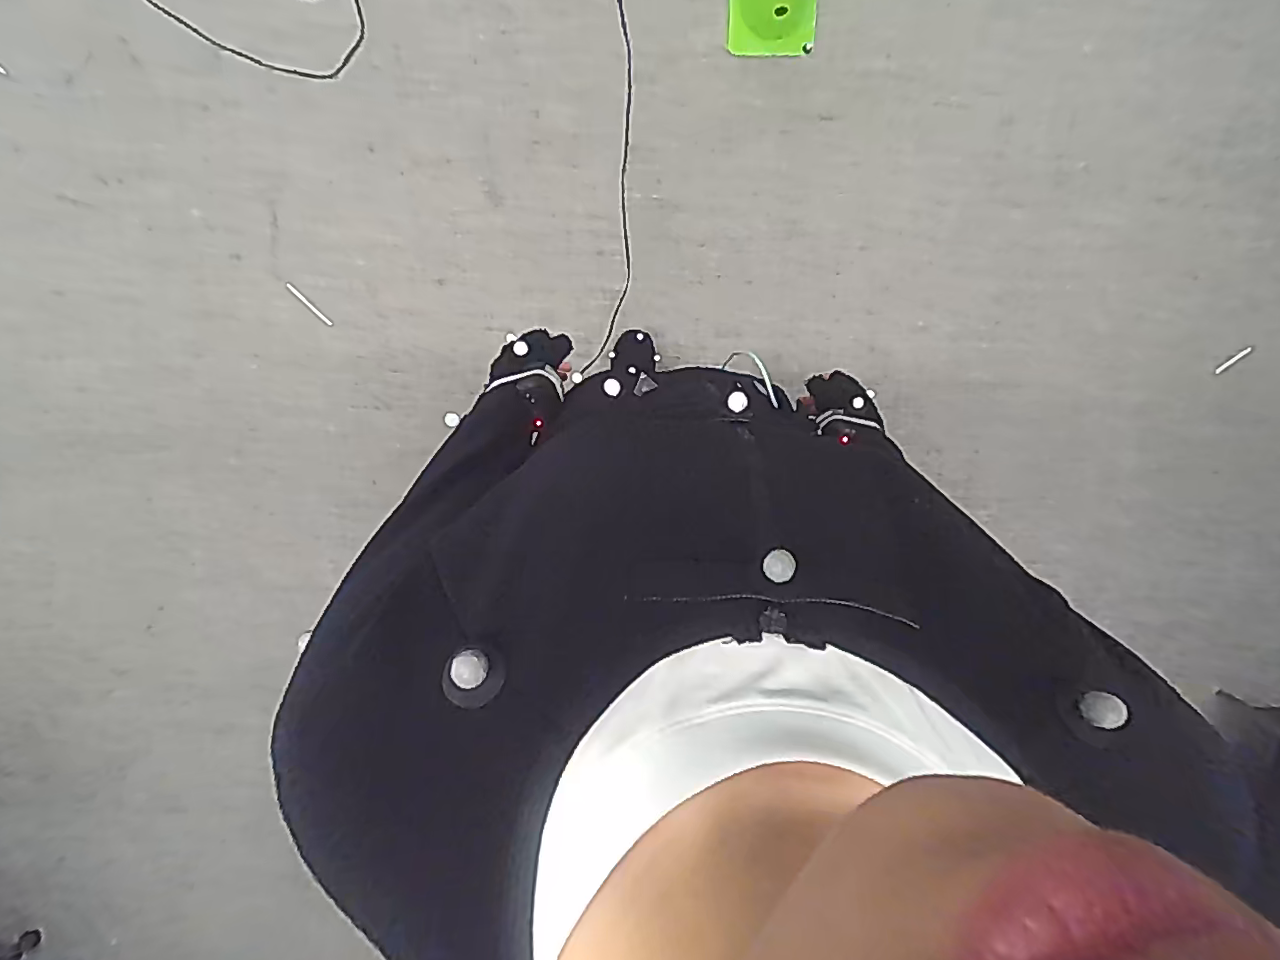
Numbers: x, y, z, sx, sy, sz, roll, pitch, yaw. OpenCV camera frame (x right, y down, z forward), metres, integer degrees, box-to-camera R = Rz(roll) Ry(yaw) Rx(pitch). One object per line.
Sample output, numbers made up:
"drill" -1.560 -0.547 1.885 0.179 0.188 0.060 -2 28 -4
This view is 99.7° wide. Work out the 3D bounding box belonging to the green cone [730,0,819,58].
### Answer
"green cone" 0.303 -1.050 1.071 0.202 0.368 0.200 0 102 2
